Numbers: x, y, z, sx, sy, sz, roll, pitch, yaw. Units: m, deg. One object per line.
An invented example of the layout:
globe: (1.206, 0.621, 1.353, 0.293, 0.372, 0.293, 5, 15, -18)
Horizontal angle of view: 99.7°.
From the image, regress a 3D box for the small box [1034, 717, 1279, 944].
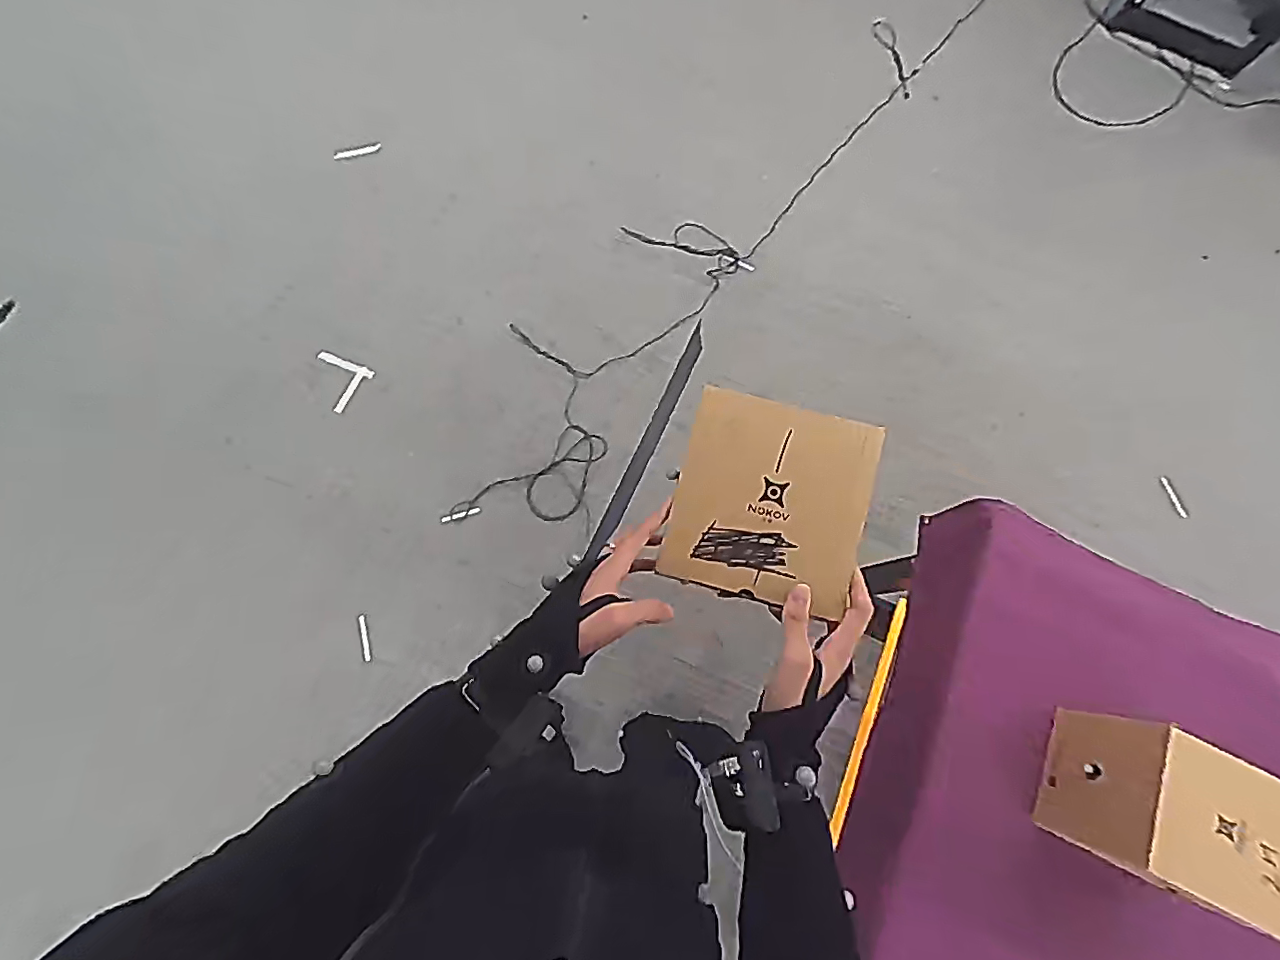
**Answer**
small box: (0.659, 0.424, 0.693, 0.179, 0.176, 0.168, 27, 74, 3)

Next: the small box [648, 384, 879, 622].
small box: (0.114, 0.025, 0.549, 0.168, 0.176, 0.179, 15, 86, 5)
